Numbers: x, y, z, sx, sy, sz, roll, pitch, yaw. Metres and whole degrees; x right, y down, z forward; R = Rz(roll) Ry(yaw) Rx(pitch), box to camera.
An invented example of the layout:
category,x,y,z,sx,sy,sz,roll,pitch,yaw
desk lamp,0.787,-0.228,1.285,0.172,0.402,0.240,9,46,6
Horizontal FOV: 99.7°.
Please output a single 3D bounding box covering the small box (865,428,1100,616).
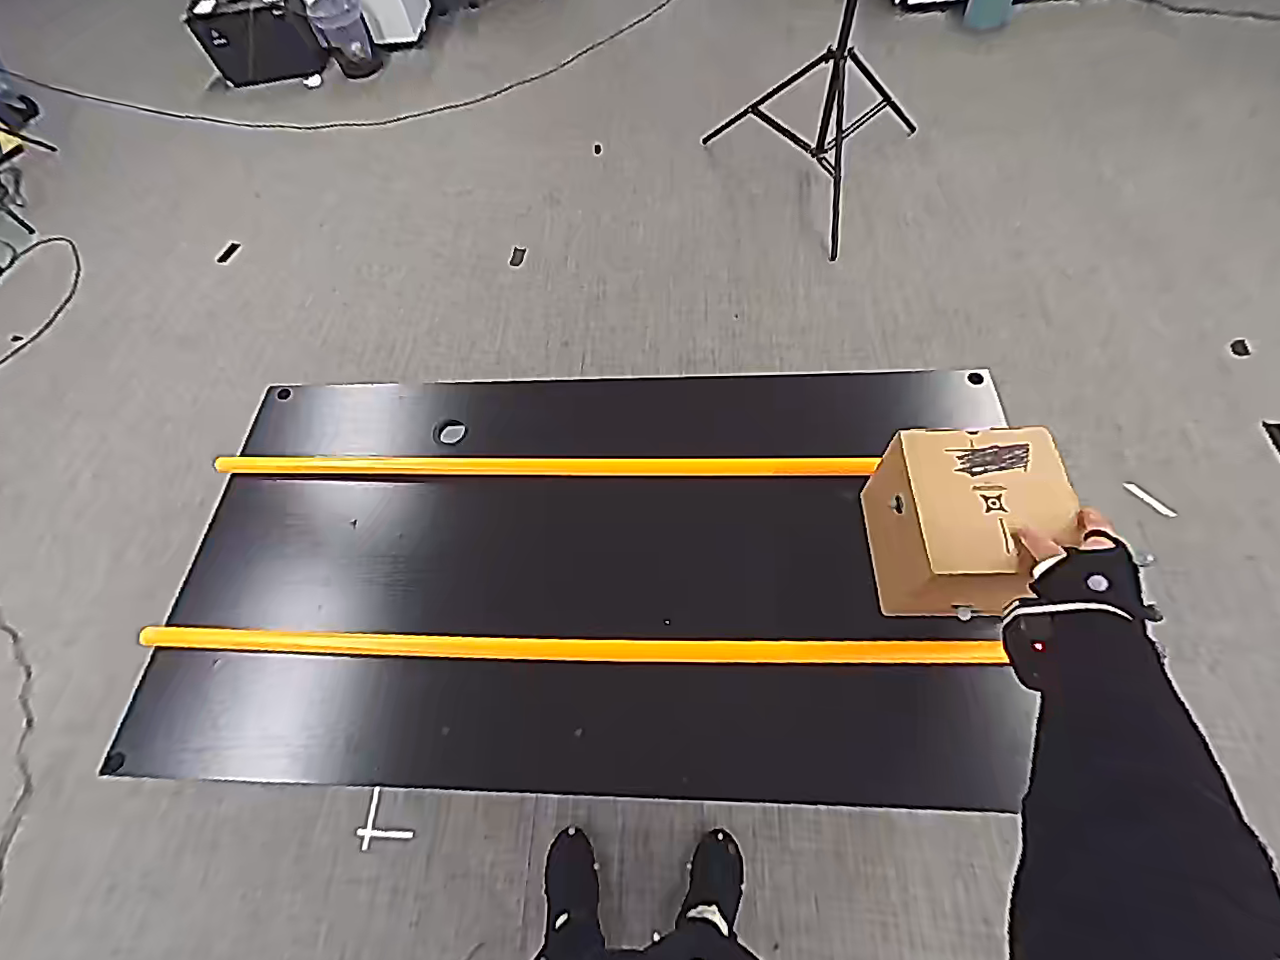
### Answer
category,x,y,z,sx,sy,sz,roll,pitch,yaw
small box,0.386,0.055,0.653,0.168,0.176,0.179,-1,62,6
